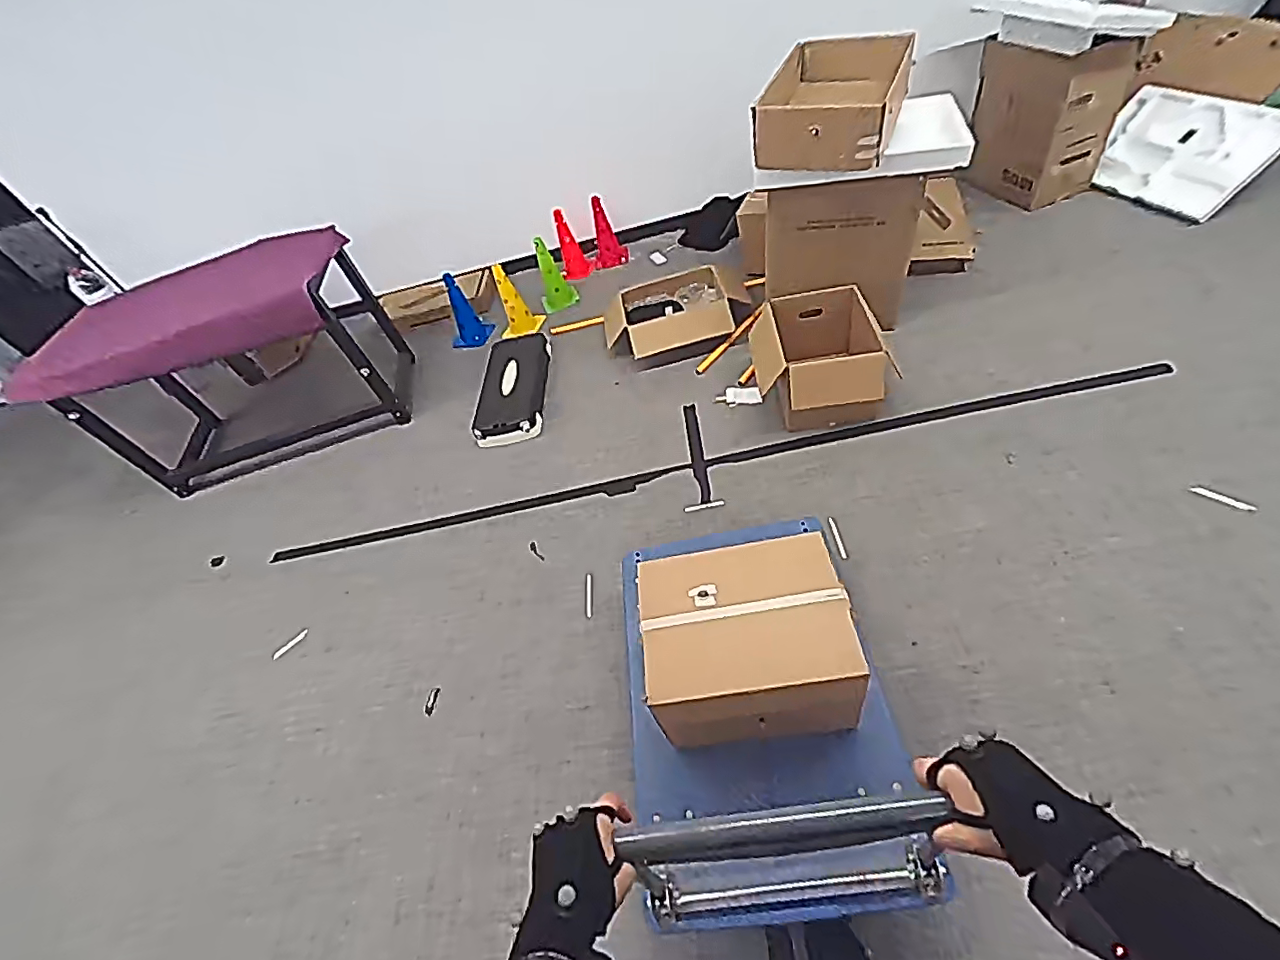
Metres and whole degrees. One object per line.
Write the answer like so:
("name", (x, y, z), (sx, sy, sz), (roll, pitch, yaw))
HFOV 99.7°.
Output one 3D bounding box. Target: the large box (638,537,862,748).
("large box", (0.235, 0.370, 1.204), (0.408, 0.320, 0.320), (-12, 47, 8))
